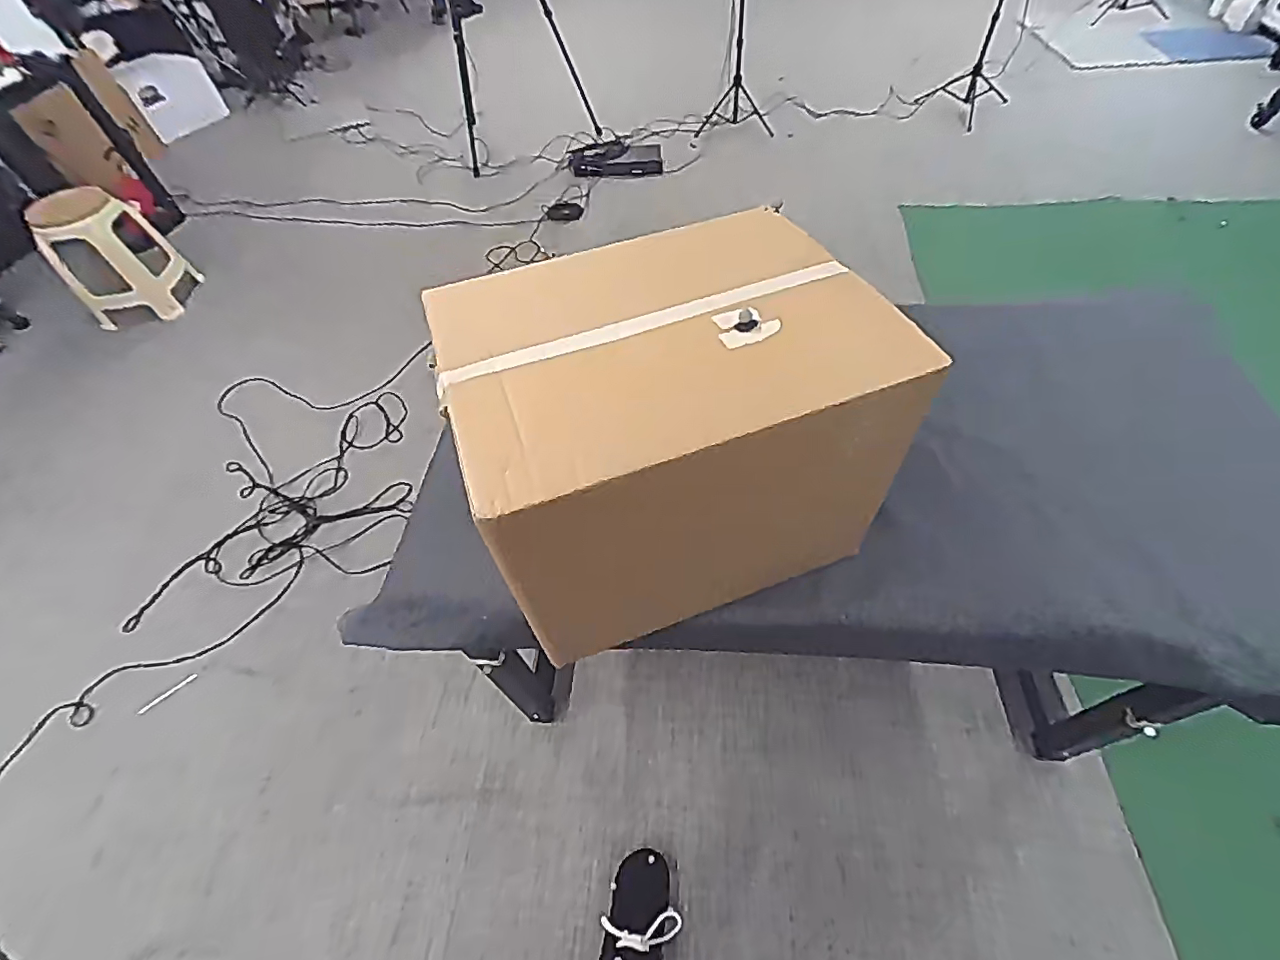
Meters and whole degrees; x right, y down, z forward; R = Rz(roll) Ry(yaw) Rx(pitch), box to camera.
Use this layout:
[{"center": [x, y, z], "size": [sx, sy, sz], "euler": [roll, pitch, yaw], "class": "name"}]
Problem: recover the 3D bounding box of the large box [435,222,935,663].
[{"center": [0.027, -0.047, 0.634], "size": [0.408, 0.320, 0.320], "euler": [-18, 54, -11], "class": "large box"}]
